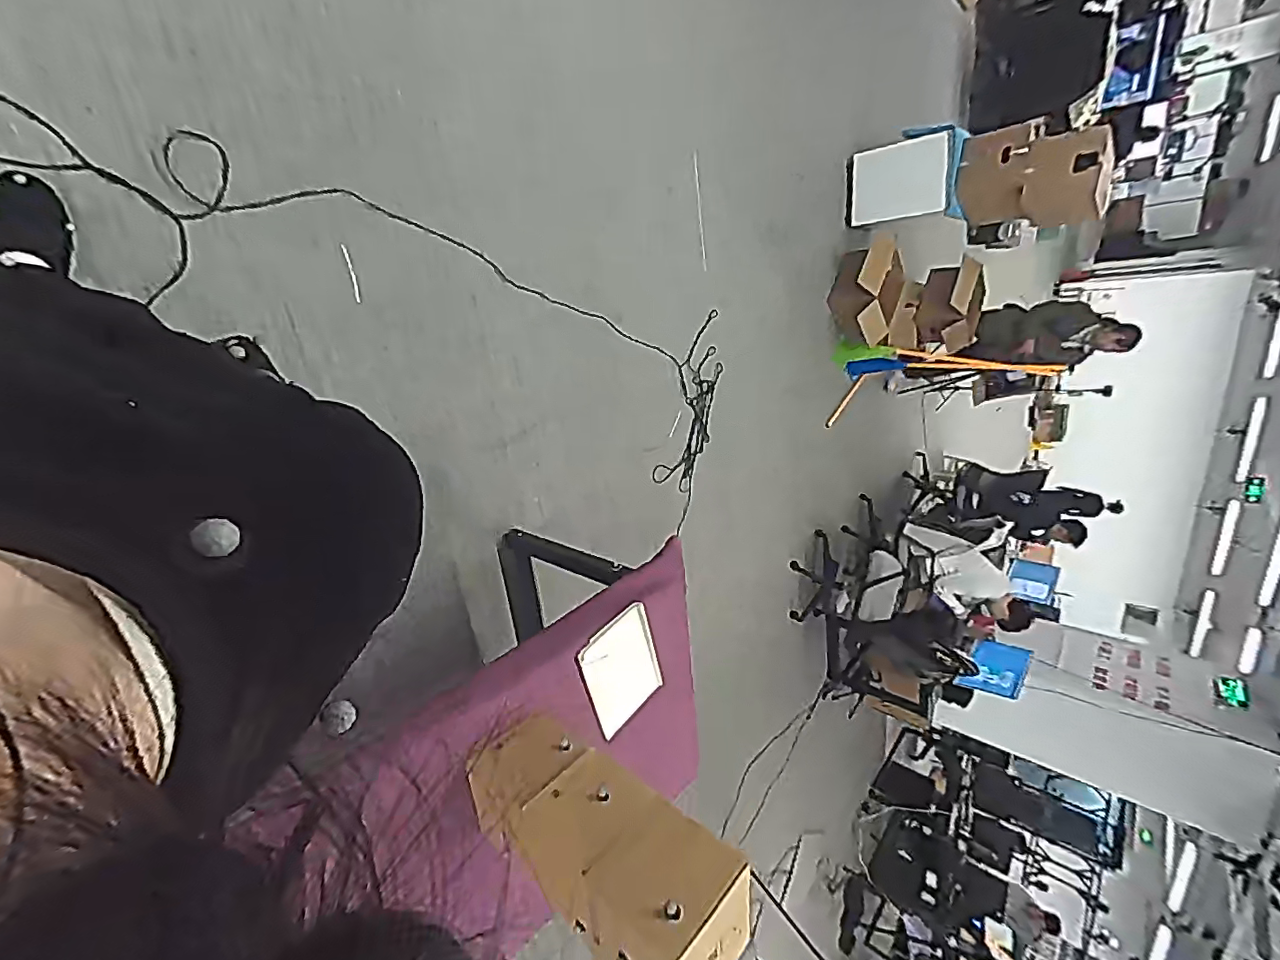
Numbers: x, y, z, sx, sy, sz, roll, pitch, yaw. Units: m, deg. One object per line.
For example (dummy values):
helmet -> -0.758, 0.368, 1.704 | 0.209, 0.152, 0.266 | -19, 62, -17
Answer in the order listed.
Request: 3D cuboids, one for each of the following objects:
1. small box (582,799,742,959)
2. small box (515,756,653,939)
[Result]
small box -> 0.030, 0.615, 0.779 | 0.179, 0.176, 0.168 | -21, 116, -45
small box -> -0.088, 0.593, 0.893 | 0.168, 0.176, 0.179 | -24, 117, -44
